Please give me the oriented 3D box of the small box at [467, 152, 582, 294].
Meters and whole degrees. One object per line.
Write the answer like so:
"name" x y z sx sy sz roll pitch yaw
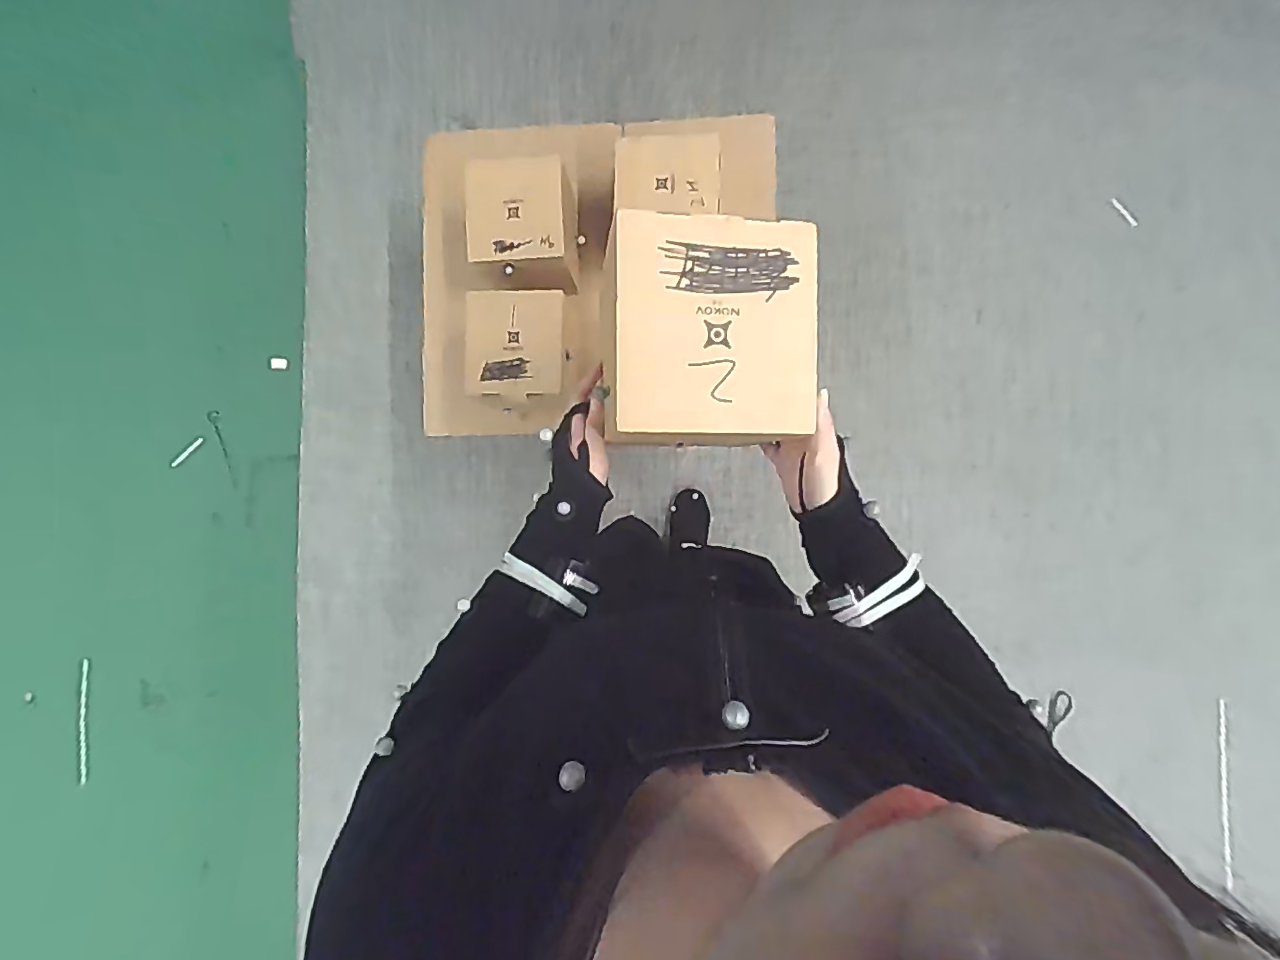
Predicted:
"small box" -0.200 -0.450 0.972 0.168 0.176 0.179 -2 87 5

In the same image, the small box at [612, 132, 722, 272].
"small box" 0.051 -0.481 0.959 0.179 0.176 0.168 2 89 5

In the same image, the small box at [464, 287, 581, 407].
"small box" -0.202 -0.228 0.966 0.168 0.176 0.179 0 88 4
